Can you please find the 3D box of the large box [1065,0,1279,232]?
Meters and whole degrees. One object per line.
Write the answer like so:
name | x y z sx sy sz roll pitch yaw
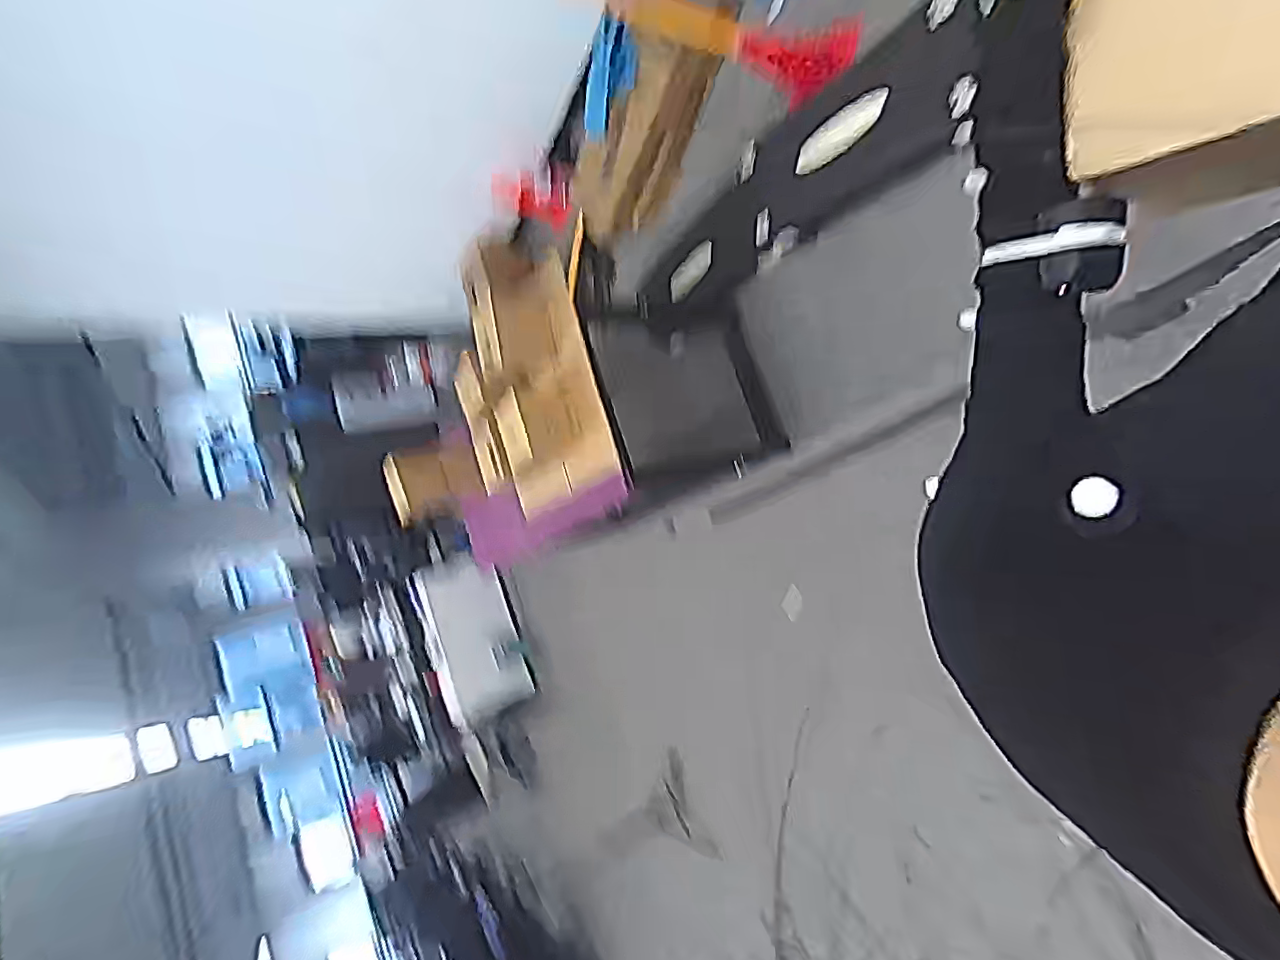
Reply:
large box | 0.545 -0.389 0.335 0.408 0.320 0.320 3 104 49
